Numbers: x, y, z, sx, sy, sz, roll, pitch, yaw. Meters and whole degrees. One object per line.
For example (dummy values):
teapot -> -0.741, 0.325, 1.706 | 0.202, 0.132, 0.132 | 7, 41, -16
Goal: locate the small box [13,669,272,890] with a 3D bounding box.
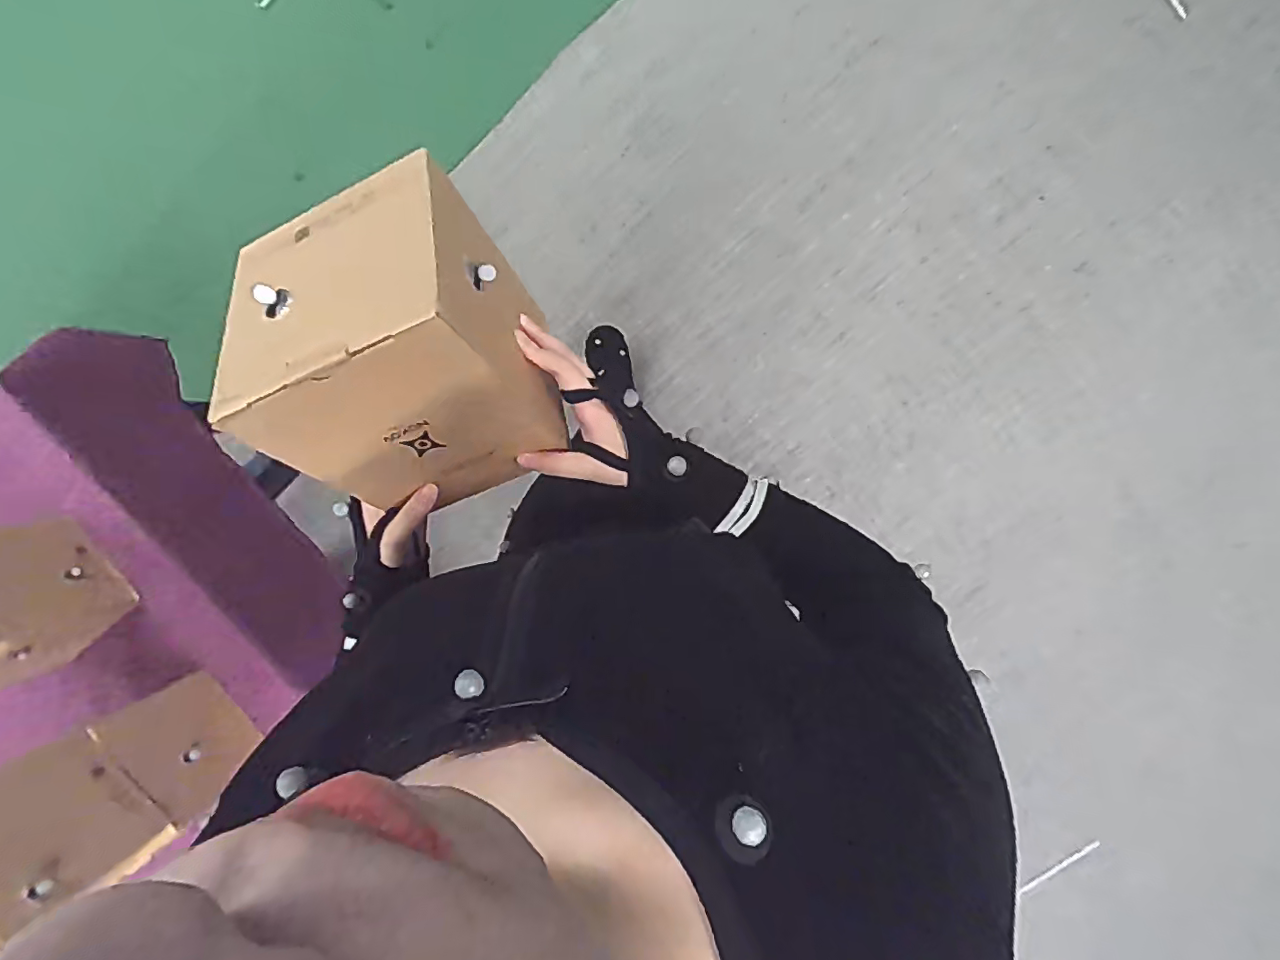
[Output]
small box -> -0.679, 0.406, 0.762 | 0.168, 0.176, 0.179 | -38, 92, 7

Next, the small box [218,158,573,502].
small box -> -0.173, -0.112, 0.422 | 0.168, 0.179, 0.176 | -20, 61, 10

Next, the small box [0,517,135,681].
small box -> -0.885, 0.173, 0.757 | 0.179, 0.176, 0.168 | -37, 92, 7
